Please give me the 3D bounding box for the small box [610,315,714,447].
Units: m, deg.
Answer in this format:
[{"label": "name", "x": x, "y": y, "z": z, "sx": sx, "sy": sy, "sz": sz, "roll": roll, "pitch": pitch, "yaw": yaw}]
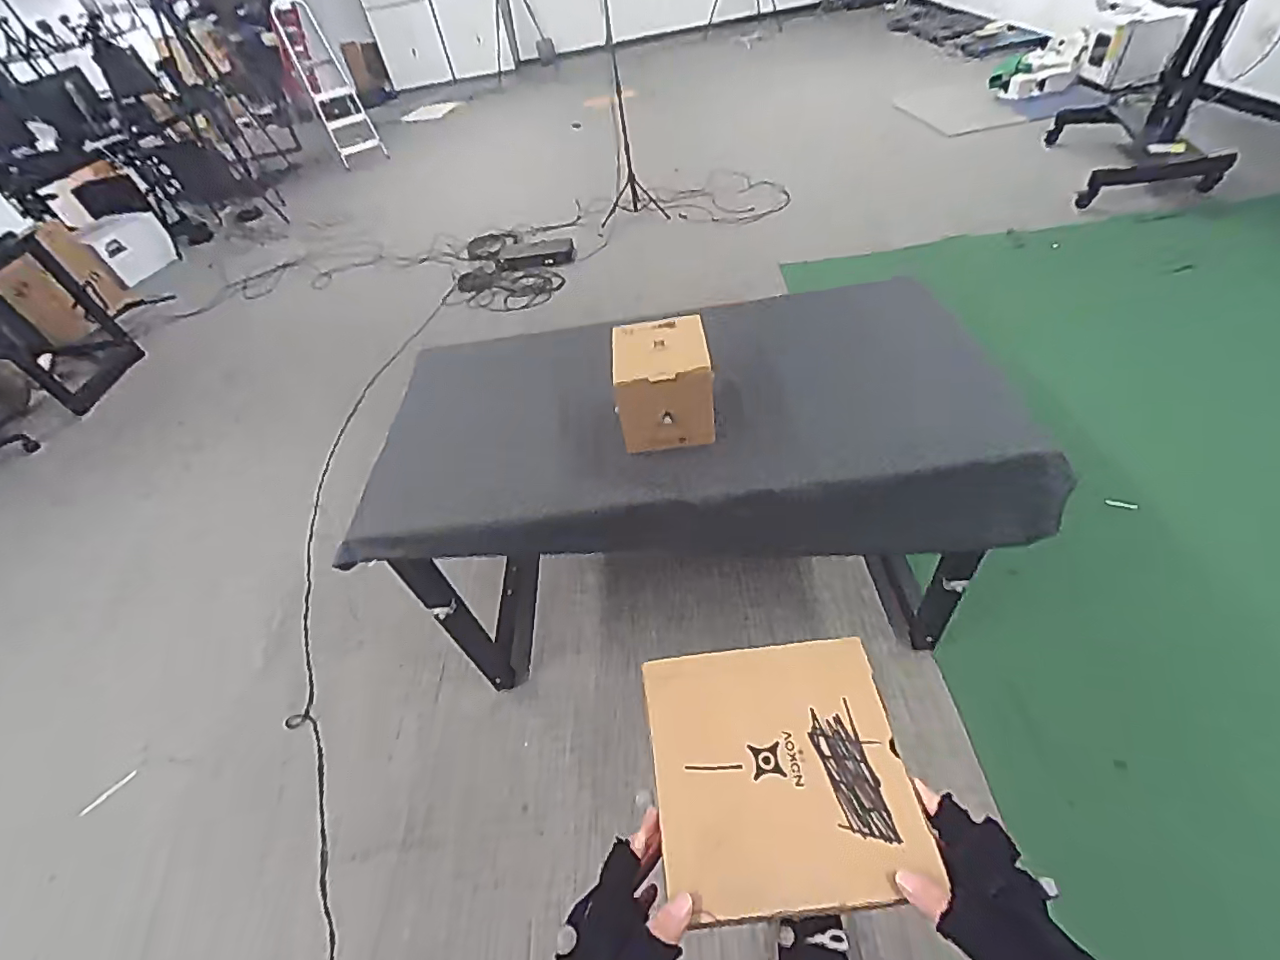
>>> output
[{"label": "small box", "x": 0.041, "y": -0.175, "z": 1.000, "sx": 0.168, "sy": 0.176, "sz": 0.179, "roll": -8, "pitch": 47, "yaw": 5}]
